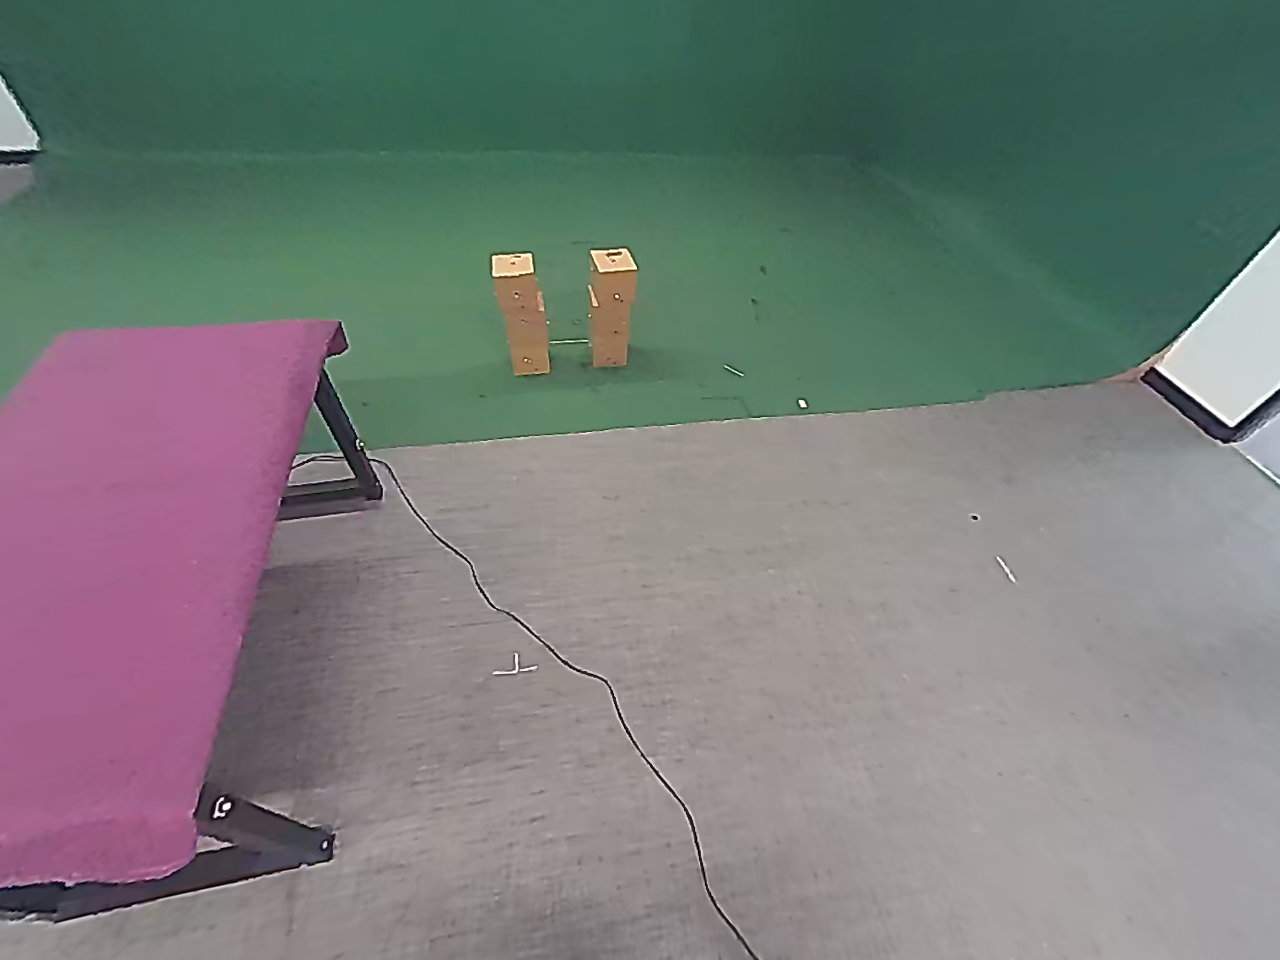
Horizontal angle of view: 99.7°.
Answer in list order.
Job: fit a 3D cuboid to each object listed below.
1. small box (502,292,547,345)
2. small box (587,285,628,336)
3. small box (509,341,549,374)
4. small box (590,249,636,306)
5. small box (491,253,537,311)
[{"bbox_3d":[-0.514,-0.713,2.395,0.179,0.176,0.168,-7,50,-9],"label":"small box"},{"bbox_3d":[-0.148,-0.772,2.469,0.168,0.176,0.179,-6,50,-10],"label":"small box"},{"bbox_3d":[-0.519,-0.609,2.523,0.168,0.176,0.179,-7,49,-9],"label":"small box"},{"bbox_3d":[-0.123,-0.879,2.347,0.168,0.176,0.179,-10,53,-13],"label":"small box"},{"bbox_3d":[-0.528,-0.829,2.277,0.168,0.176,0.179,-7,50,-8],"label":"small box"}]
